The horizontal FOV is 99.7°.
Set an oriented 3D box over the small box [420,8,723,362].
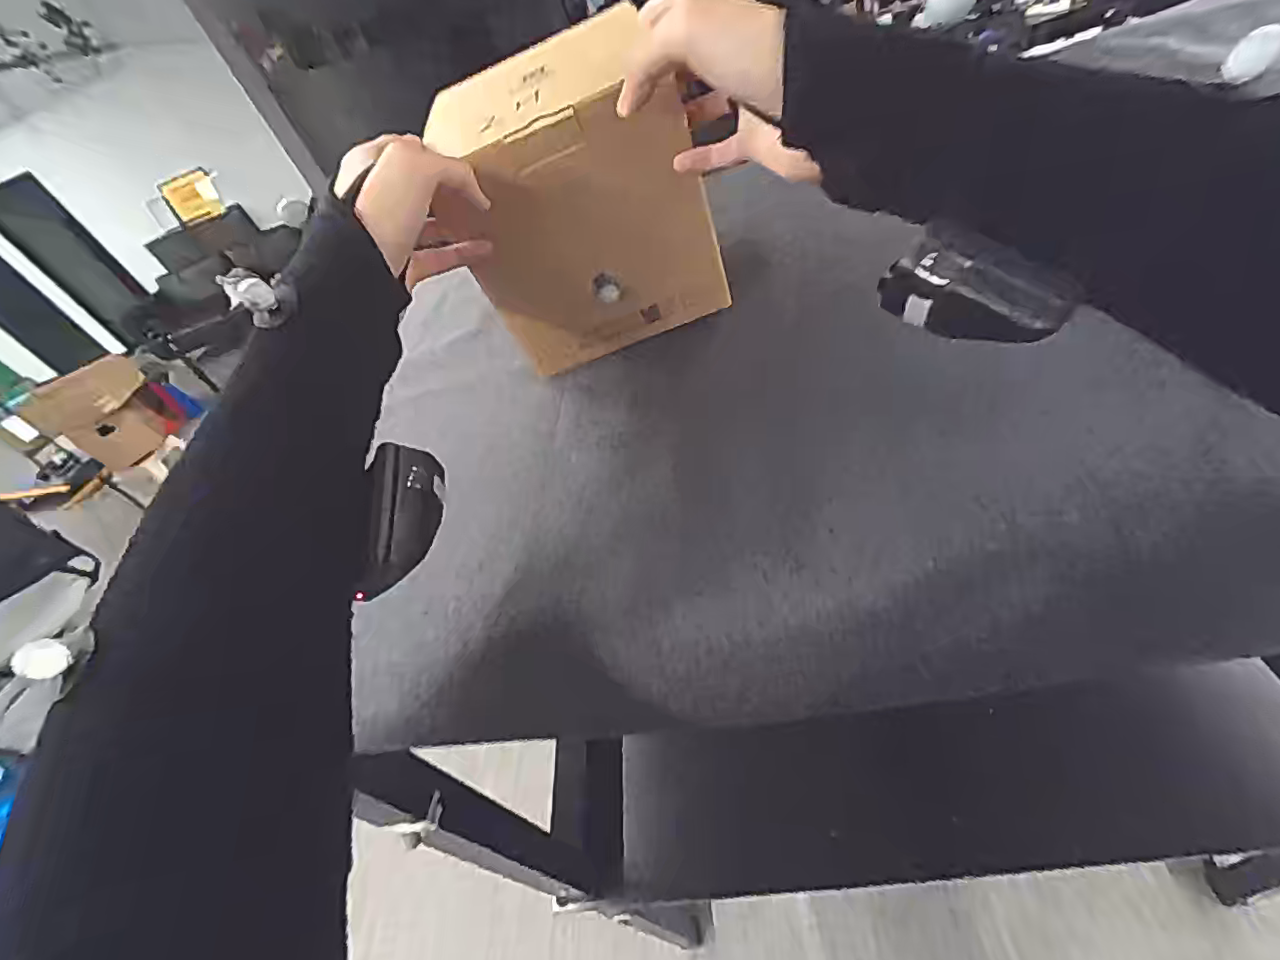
[{"bbox_3d":[-0.044,-0.228,0.432,0.168,0.176,0.179,-19,48,9],"label":"small box"}]
